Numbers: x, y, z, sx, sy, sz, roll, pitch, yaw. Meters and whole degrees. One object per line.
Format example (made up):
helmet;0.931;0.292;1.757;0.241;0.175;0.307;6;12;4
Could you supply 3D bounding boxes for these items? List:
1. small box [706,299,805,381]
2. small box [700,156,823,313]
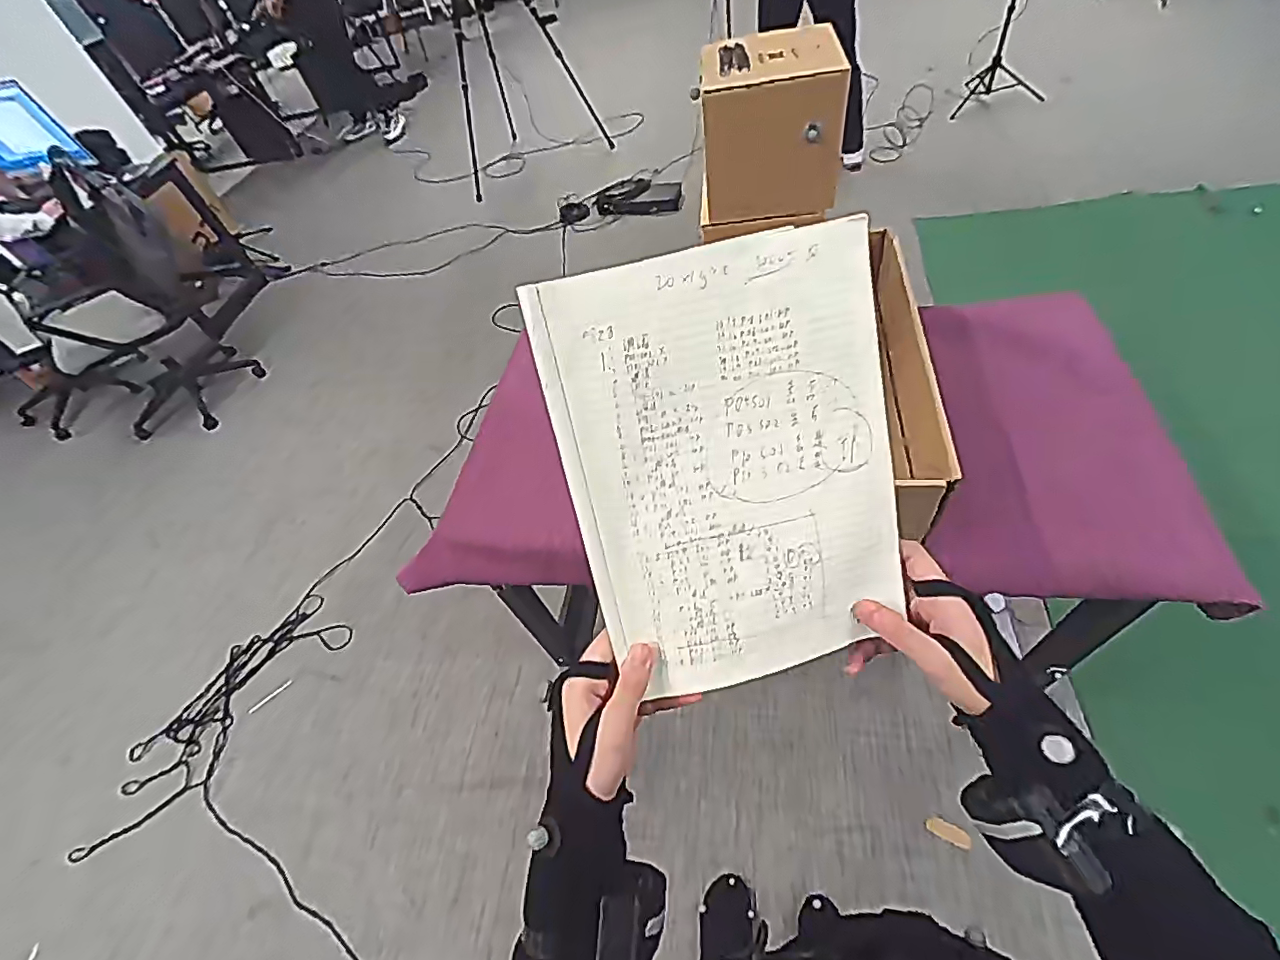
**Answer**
small box;0.219;-0.298;1.008;0.168;0.176;0.179;1;55;13
small box;0.195;-0.390;0.877;0.179;0.176;0.168;-1;54;12
